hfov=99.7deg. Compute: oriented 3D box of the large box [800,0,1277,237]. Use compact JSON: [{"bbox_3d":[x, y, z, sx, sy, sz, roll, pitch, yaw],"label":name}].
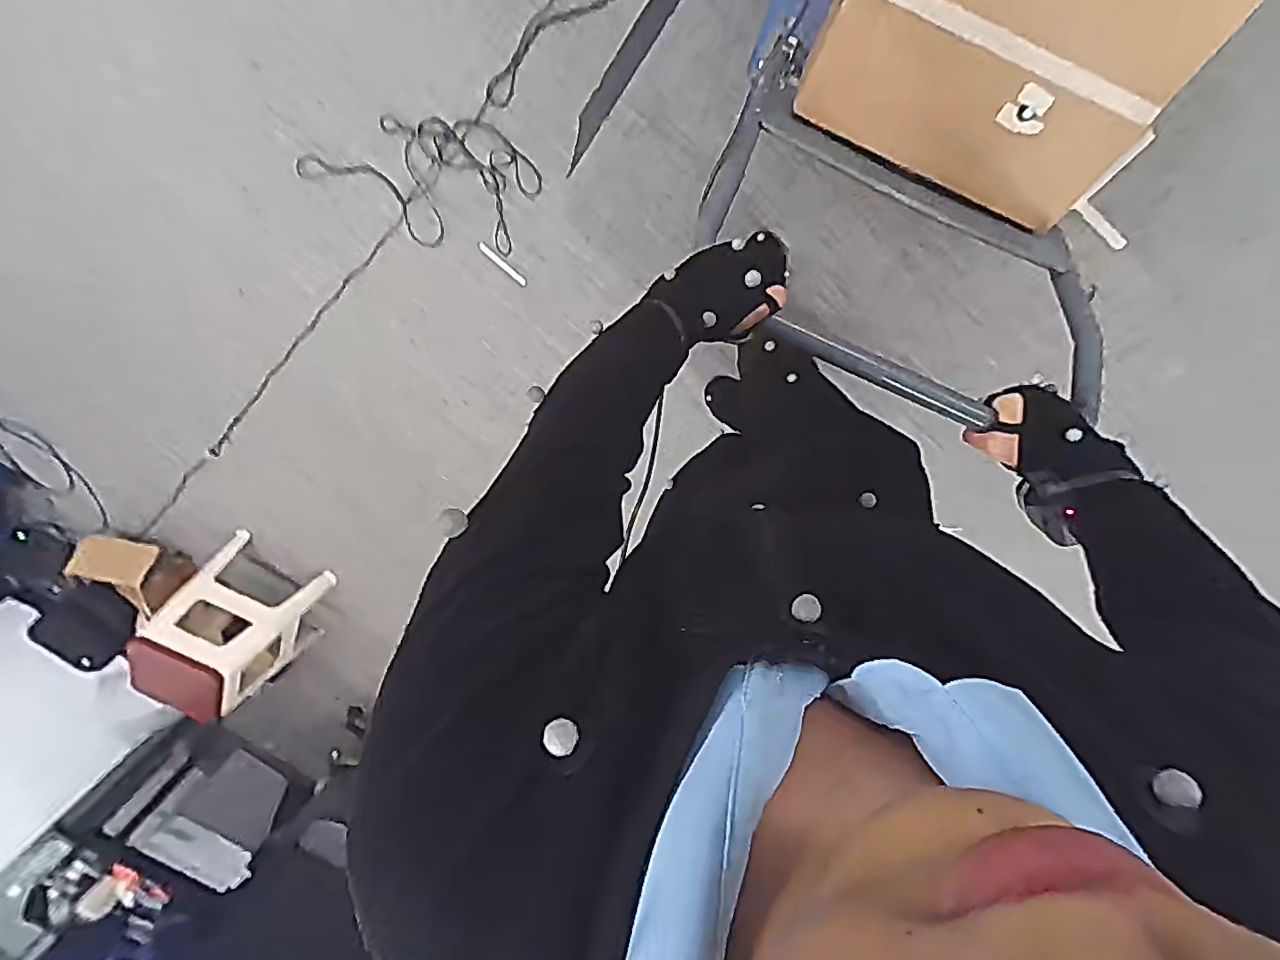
[{"bbox_3d":[0.475,-0.608,0.730,0.408,0.320,0.320,23,140,-4],"label":"large box"}]
